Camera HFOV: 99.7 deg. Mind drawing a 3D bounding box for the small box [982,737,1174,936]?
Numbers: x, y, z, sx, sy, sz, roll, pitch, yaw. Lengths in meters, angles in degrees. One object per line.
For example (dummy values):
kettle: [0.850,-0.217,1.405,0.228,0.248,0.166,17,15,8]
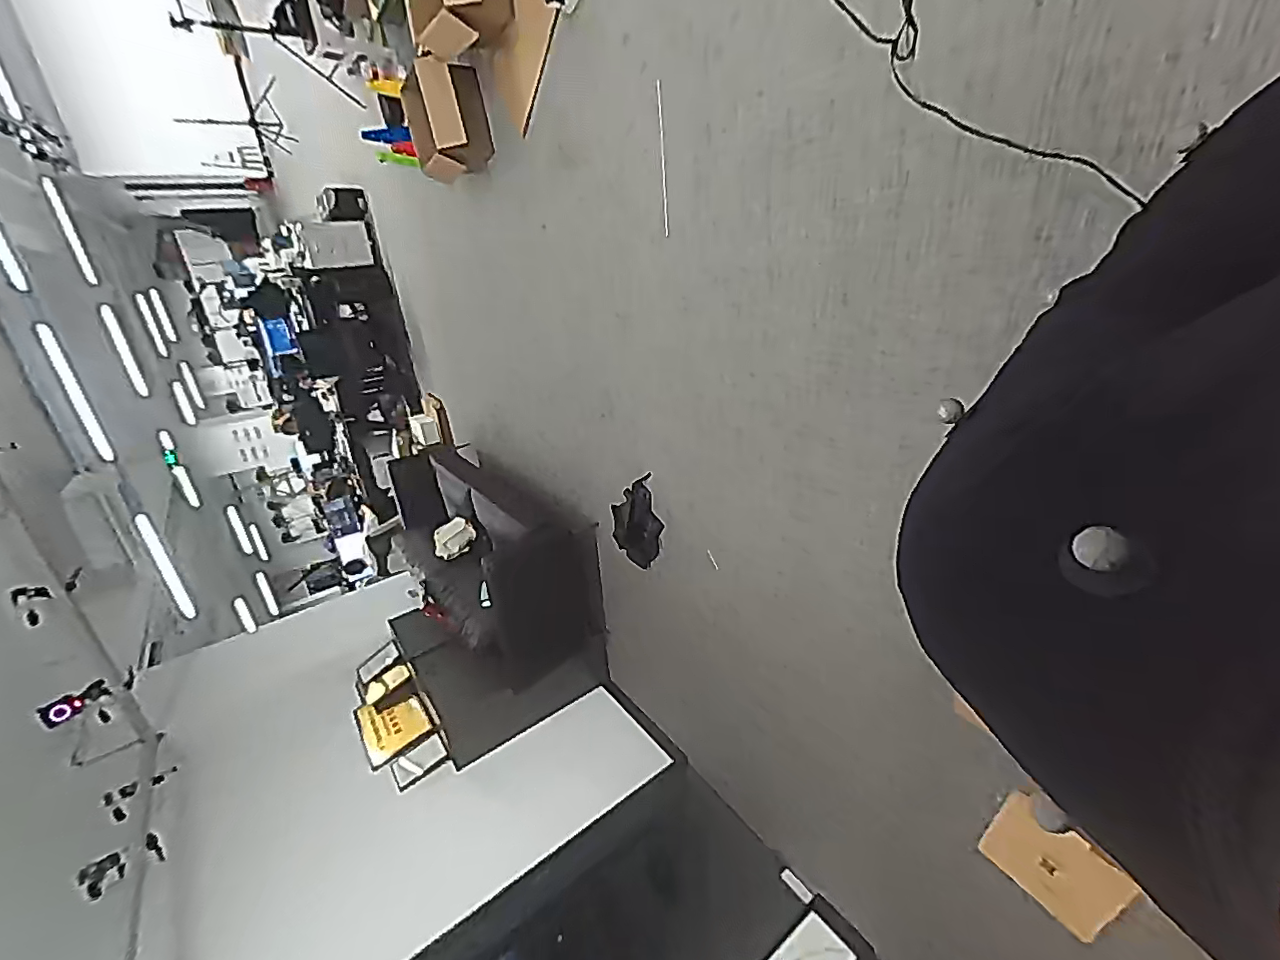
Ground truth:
small box: [0.694,0.553,0.860,0.168,0.176,0.179,37,137,46]
